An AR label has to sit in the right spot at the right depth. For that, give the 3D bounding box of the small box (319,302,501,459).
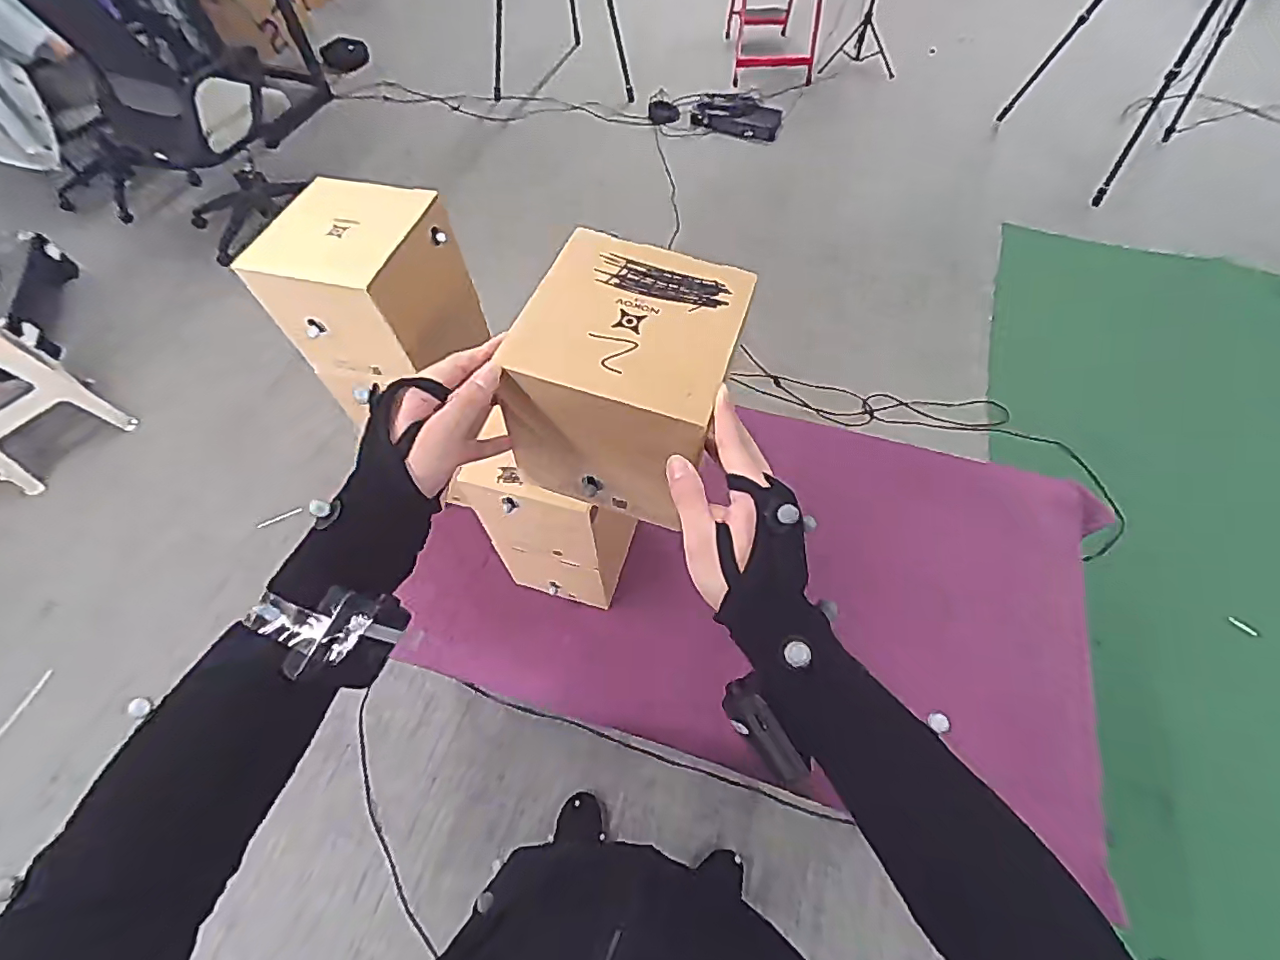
[{"bbox_3d":[-0.327,-0.159,0.816,0.168,0.176,0.179,12,61,9],"label":"small box"}]

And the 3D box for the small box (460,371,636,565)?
[{"bbox_3d":[-0.108,-0.013,0.722,0.168,0.176,0.179,13,60,10],"label":"small box"}]

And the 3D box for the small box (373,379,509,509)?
[{"bbox_3d":[-0.324,-0.075,0.956,0.168,0.176,0.179,13,61,9],"label":"small box"}]

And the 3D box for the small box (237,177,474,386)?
[{"bbox_3d":[-0.331,-0.242,0.676,0.168,0.176,0.179,12,60,9],"label":"small box"}]

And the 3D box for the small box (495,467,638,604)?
[{"bbox_3d":[-0.106,0.073,0.862,0.168,0.176,0.179,14,61,10],"label":"small box"}]
